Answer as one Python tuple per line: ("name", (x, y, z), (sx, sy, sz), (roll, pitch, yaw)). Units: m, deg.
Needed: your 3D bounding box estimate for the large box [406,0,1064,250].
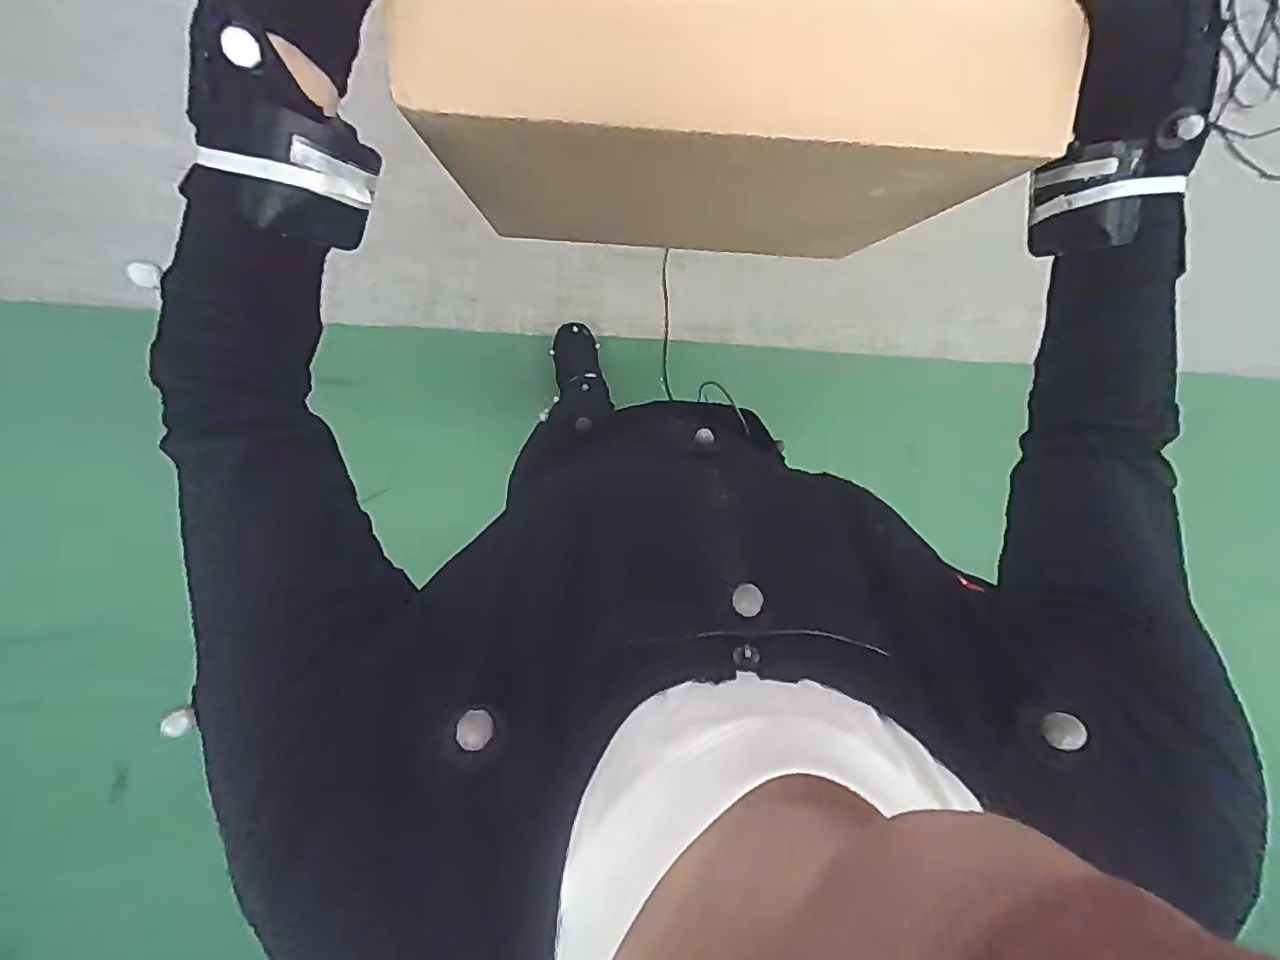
("large box", (0.053, -0.393, 0.452), (0.408, 0.320, 0.320), (1, 102, -4))
